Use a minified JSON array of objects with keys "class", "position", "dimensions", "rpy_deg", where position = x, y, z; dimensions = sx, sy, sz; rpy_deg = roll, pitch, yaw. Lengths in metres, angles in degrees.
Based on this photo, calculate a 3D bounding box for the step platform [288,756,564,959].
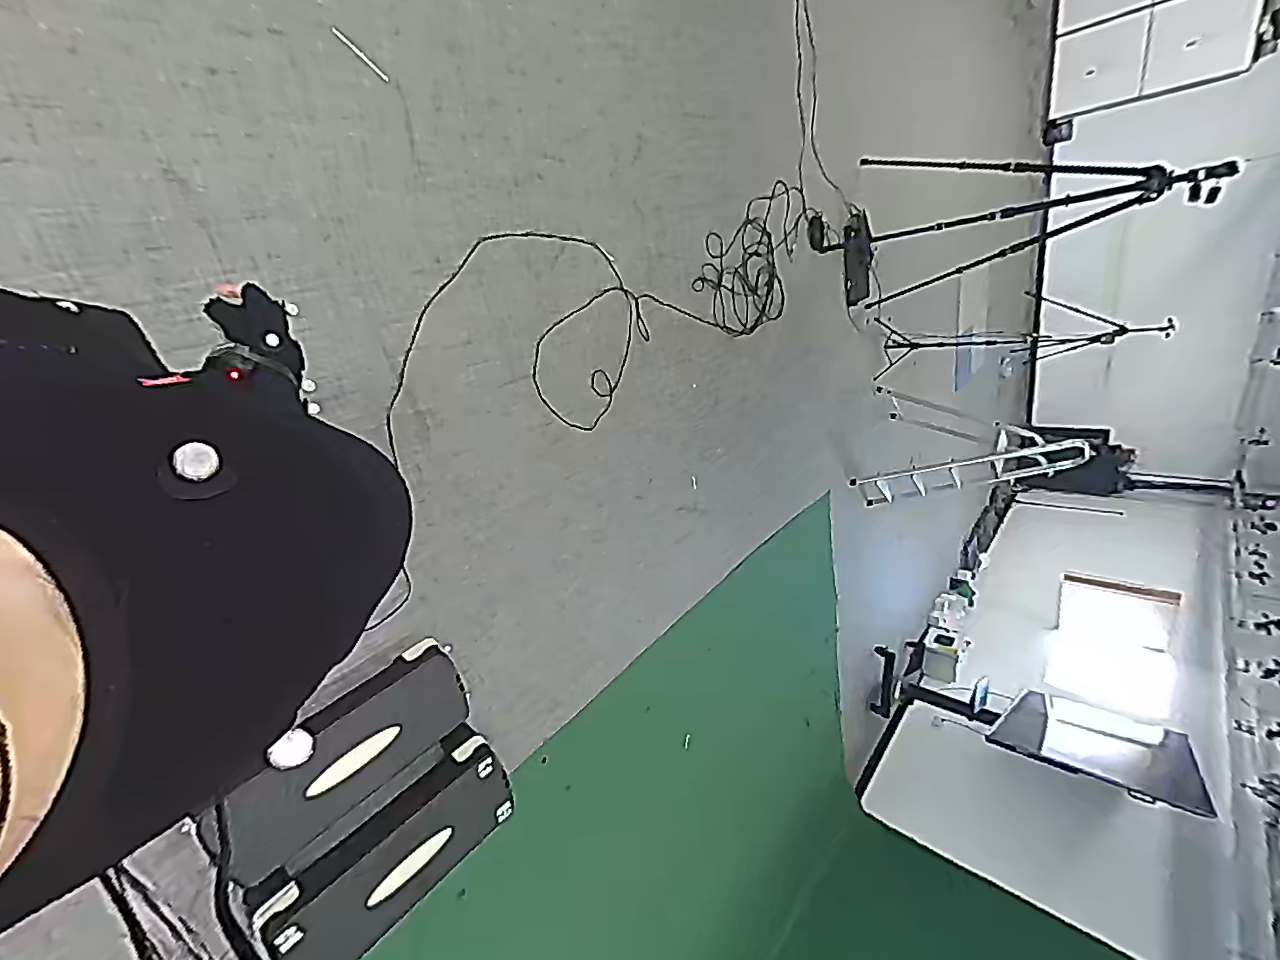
[{"class":"step platform","position":[-0.534,1.095,1.453],"dimensions":[0.684,0.204,0.286],"rpy_deg":[-32,119,-41]}]
